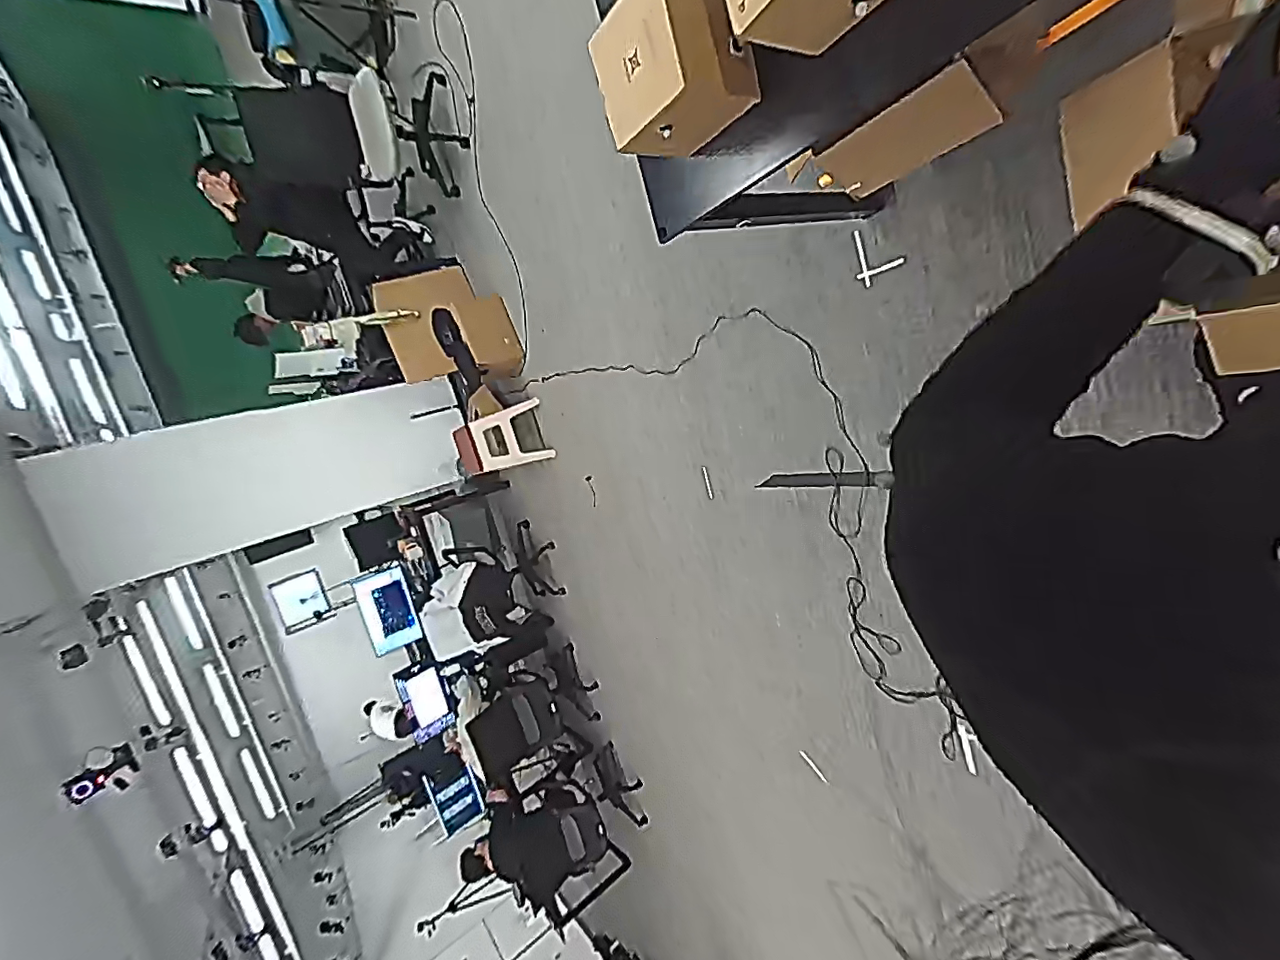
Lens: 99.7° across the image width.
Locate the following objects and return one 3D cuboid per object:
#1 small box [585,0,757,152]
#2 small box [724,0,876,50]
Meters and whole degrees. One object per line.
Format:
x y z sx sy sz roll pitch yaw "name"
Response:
0.046 -0.620 0.818 0.179 0.176 0.168 -1 107 54 "small box"
0.197 -0.630 0.601 0.179 0.176 0.168 -7 102 55 "small box"
